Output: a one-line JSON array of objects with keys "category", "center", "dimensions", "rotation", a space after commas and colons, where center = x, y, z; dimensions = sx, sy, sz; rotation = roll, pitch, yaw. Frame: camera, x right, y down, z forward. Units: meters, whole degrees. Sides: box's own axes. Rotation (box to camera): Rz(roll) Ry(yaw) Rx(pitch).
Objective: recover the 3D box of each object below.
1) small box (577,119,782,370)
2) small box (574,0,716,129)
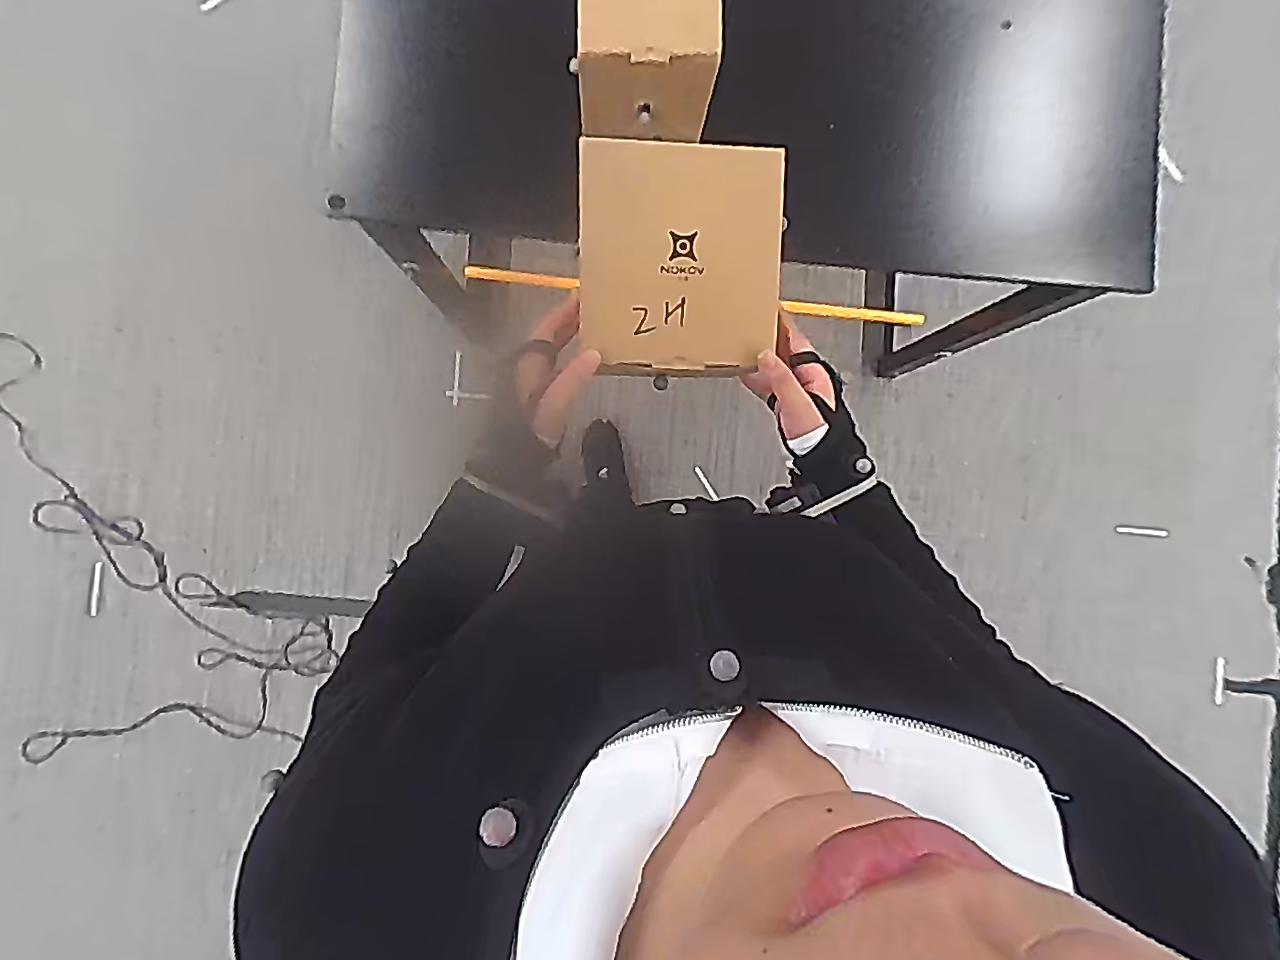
[{"category": "small box", "center": [0.025, -0.204, 0.517], "dimensions": [0.168, 0.176, 0.179], "rotation": [1, 97, -4]}, {"category": "small box", "center": [0.004, -0.563, 0.699], "dimensions": [0.168, 0.176, 0.179], "rotation": [0, 89, -3]}]
